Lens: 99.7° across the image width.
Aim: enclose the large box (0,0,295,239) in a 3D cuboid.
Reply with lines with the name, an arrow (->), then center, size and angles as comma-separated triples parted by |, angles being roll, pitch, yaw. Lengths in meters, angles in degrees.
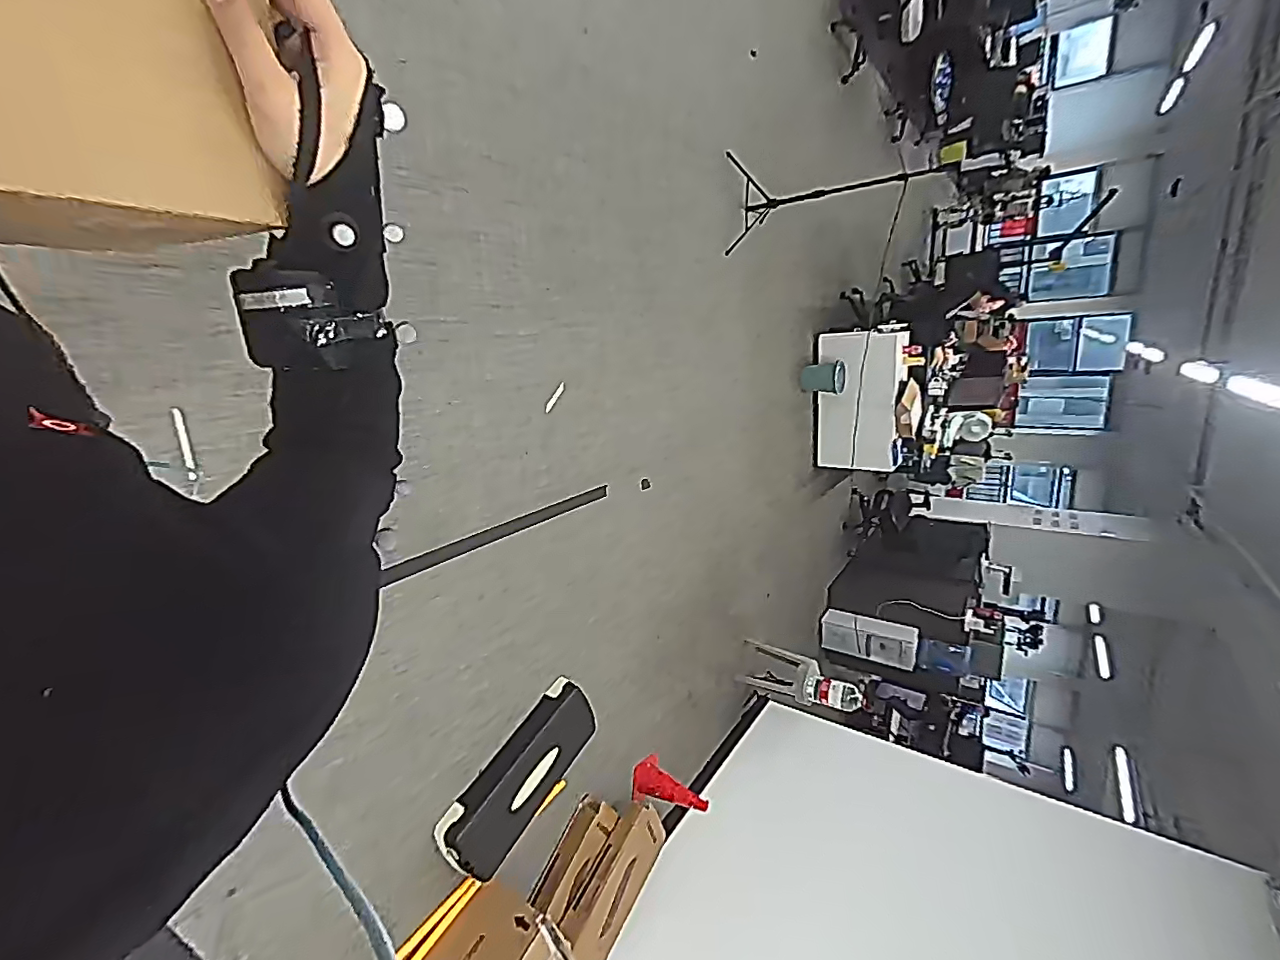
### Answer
large box -> -0.444, -0.287, 0.210 | 0.408, 0.320, 0.320 | -23, 120, -53
